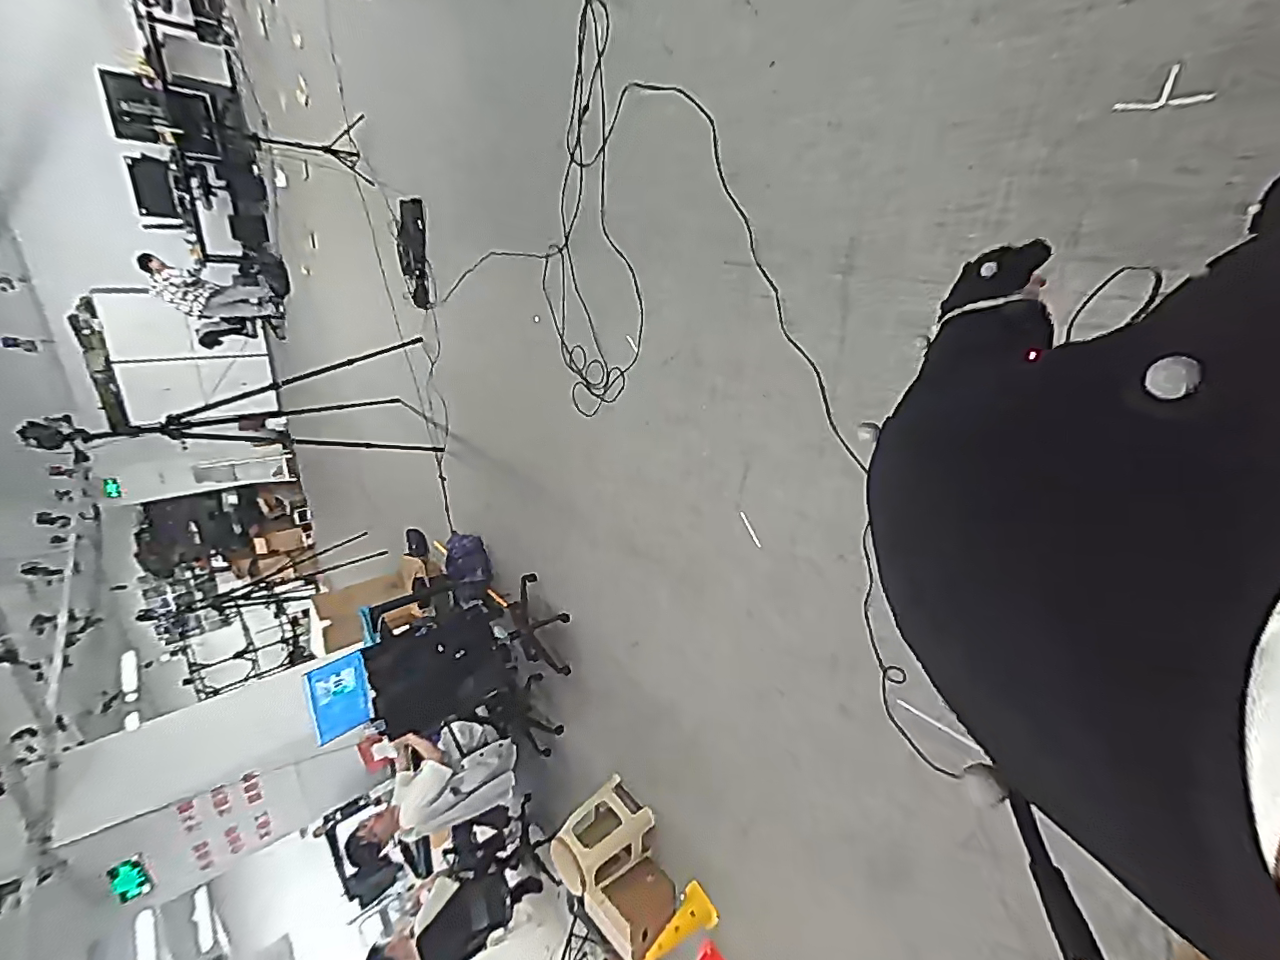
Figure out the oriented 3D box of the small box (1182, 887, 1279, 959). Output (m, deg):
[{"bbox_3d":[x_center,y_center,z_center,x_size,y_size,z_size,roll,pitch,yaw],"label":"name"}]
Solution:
[{"bbox_3d":[1.118,0.856,0.948,0.168,0.176,0.179,54,137,23],"label":"small box"}]
